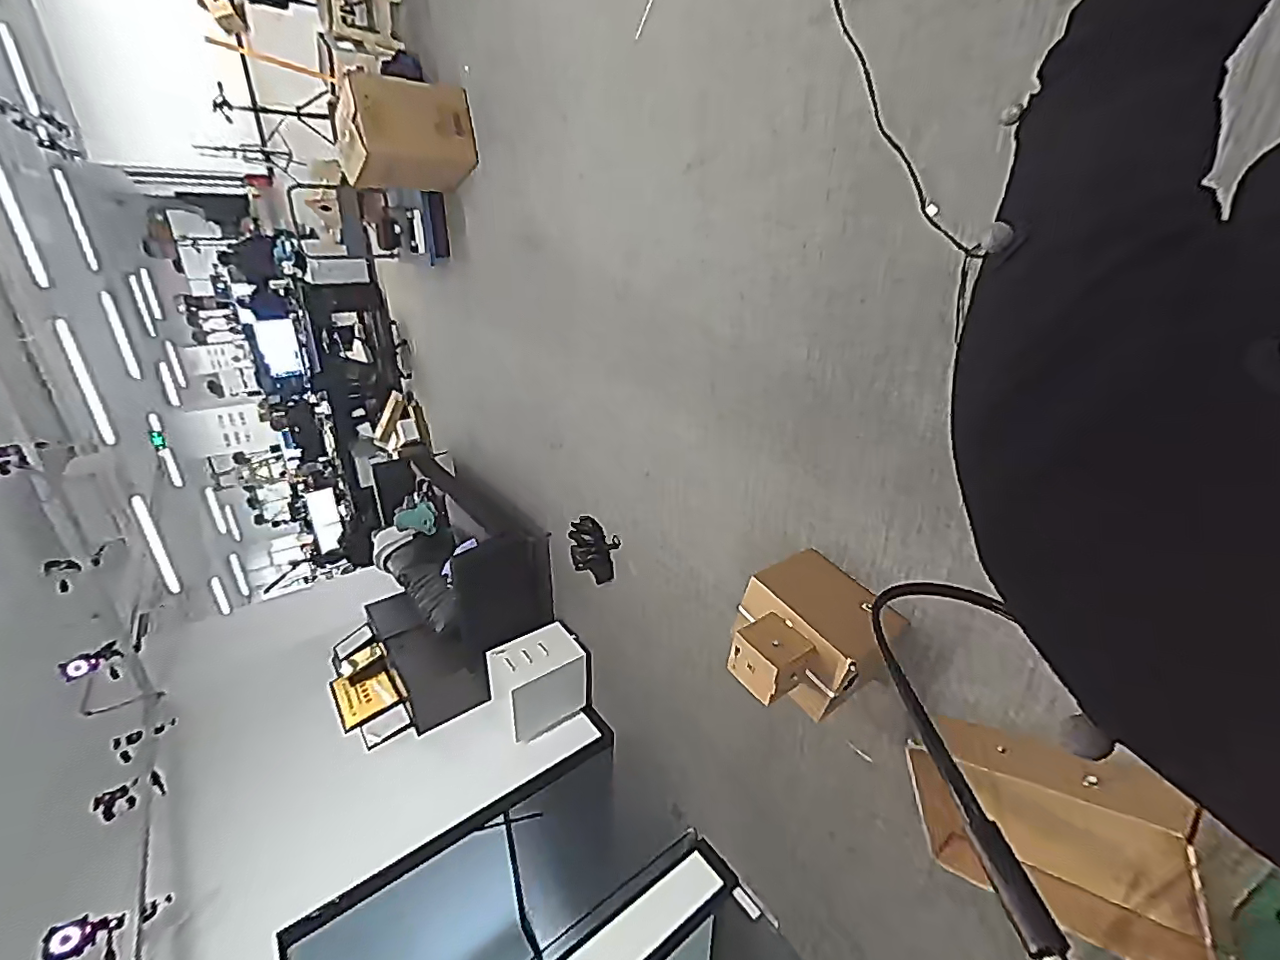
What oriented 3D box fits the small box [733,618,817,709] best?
[{"bbox_3d":[0.419,0.557,1.672,0.179,0.176,0.168,36,131,42],"label":"small box"}]
